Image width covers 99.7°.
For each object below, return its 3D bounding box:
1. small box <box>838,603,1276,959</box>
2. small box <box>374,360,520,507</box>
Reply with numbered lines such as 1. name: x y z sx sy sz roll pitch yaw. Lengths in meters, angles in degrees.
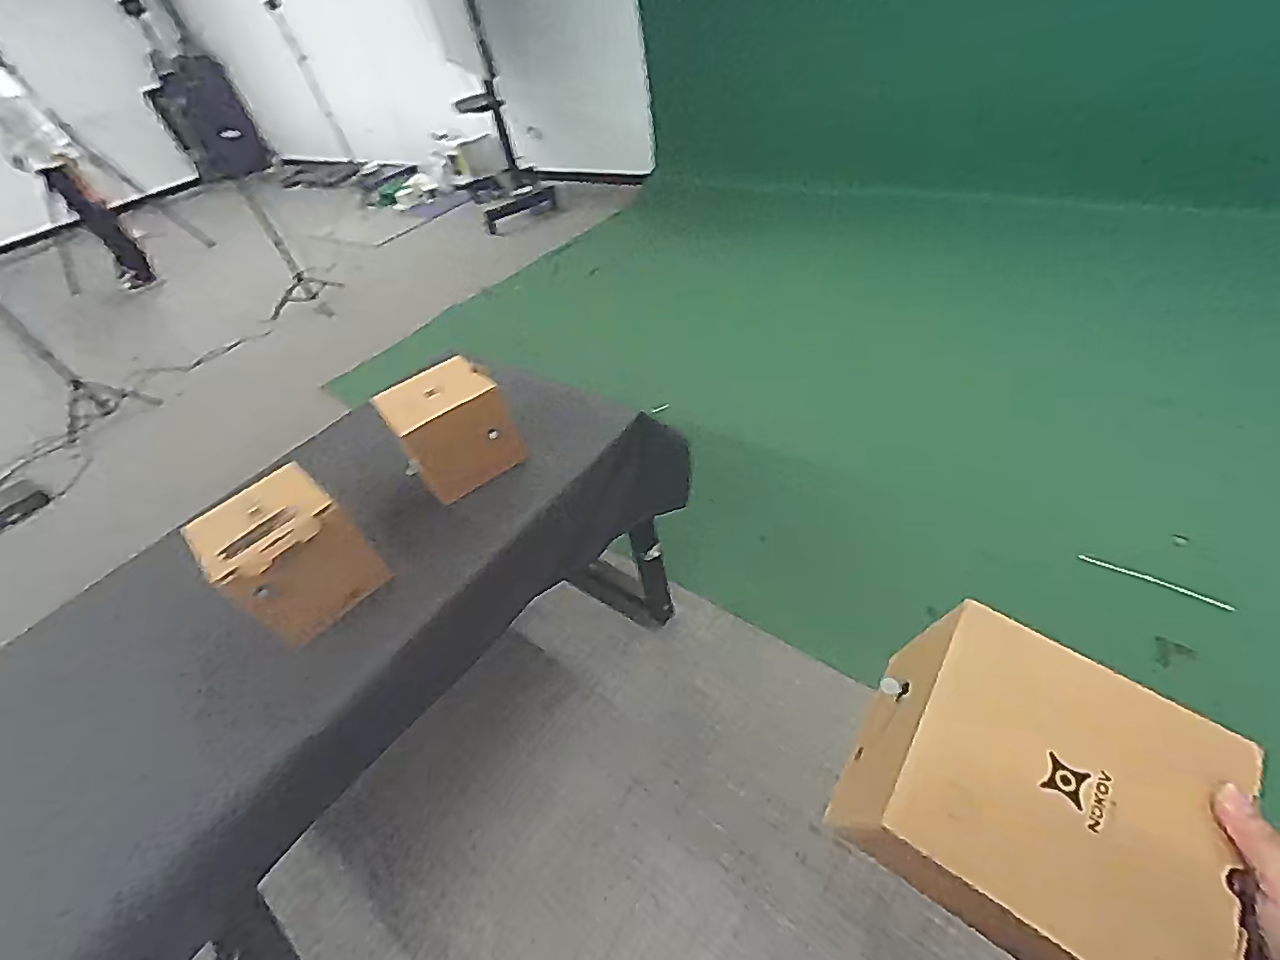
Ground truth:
1. small box: 0.268 0.224 0.388 0.179 0.176 0.168 29 65 20
2. small box: -0.339 -0.085 0.980 0.179 0.176 0.168 -35 47 -20
